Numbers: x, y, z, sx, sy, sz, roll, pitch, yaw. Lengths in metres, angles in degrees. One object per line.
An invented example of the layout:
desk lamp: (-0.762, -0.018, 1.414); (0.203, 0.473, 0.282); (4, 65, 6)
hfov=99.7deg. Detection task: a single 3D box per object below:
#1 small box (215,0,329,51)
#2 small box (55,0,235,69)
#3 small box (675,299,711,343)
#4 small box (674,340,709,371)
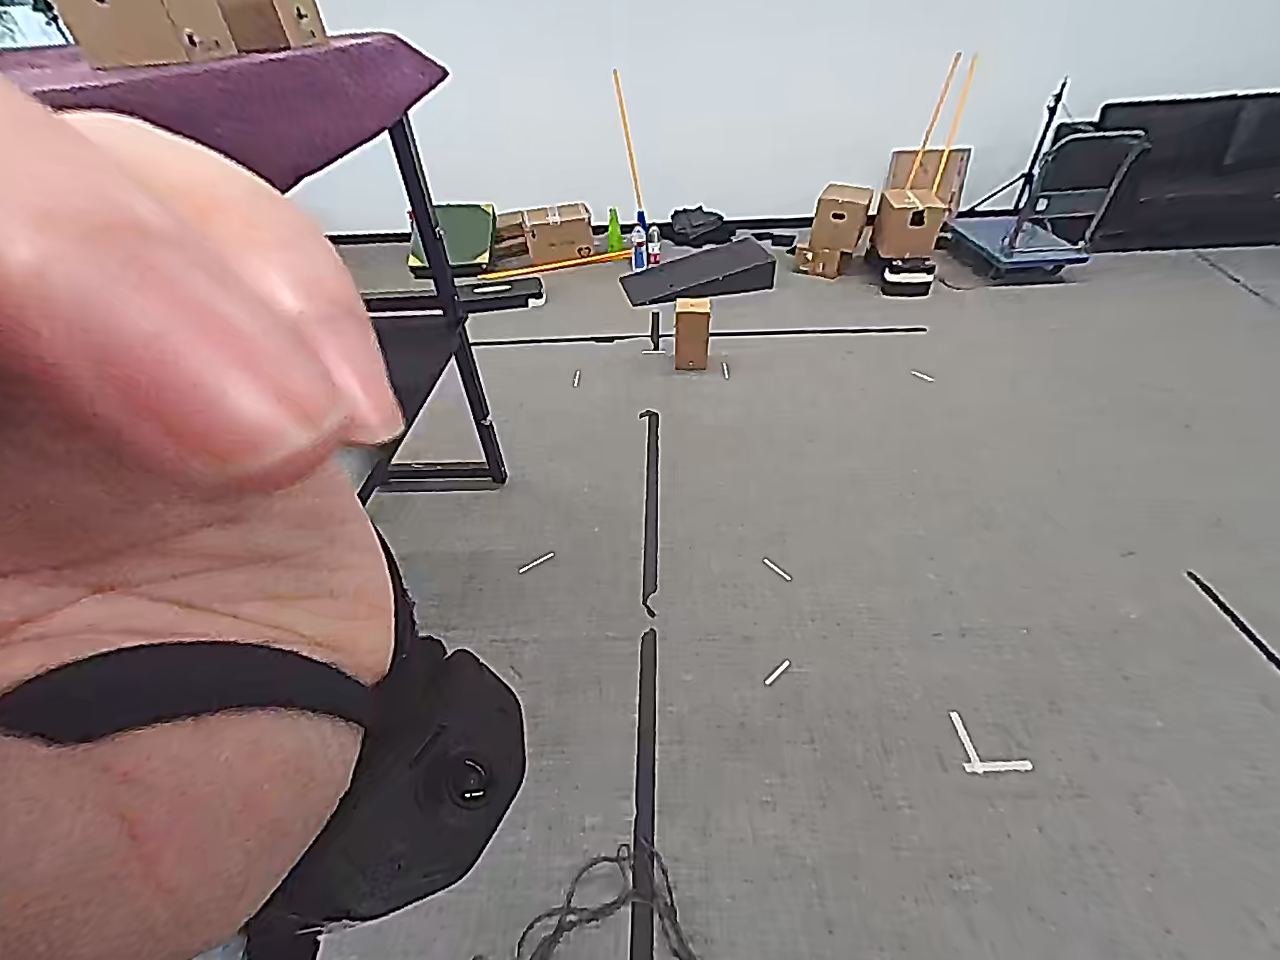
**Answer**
small box: (-0.823, -1.040, 1.167); (0.179, 0.176, 0.168); (2, 43, 6)
small box: (-0.850, -0.818, 0.921); (0.179, 0.176, 0.168); (-5, 41, 0)
small box: (0.276, -0.828, 2.825); (0.179, 0.176, 0.168); (2, 42, 6)
small box: (0.275, -0.707, 2.936); (0.179, 0.176, 0.168); (1, 42, 2)
